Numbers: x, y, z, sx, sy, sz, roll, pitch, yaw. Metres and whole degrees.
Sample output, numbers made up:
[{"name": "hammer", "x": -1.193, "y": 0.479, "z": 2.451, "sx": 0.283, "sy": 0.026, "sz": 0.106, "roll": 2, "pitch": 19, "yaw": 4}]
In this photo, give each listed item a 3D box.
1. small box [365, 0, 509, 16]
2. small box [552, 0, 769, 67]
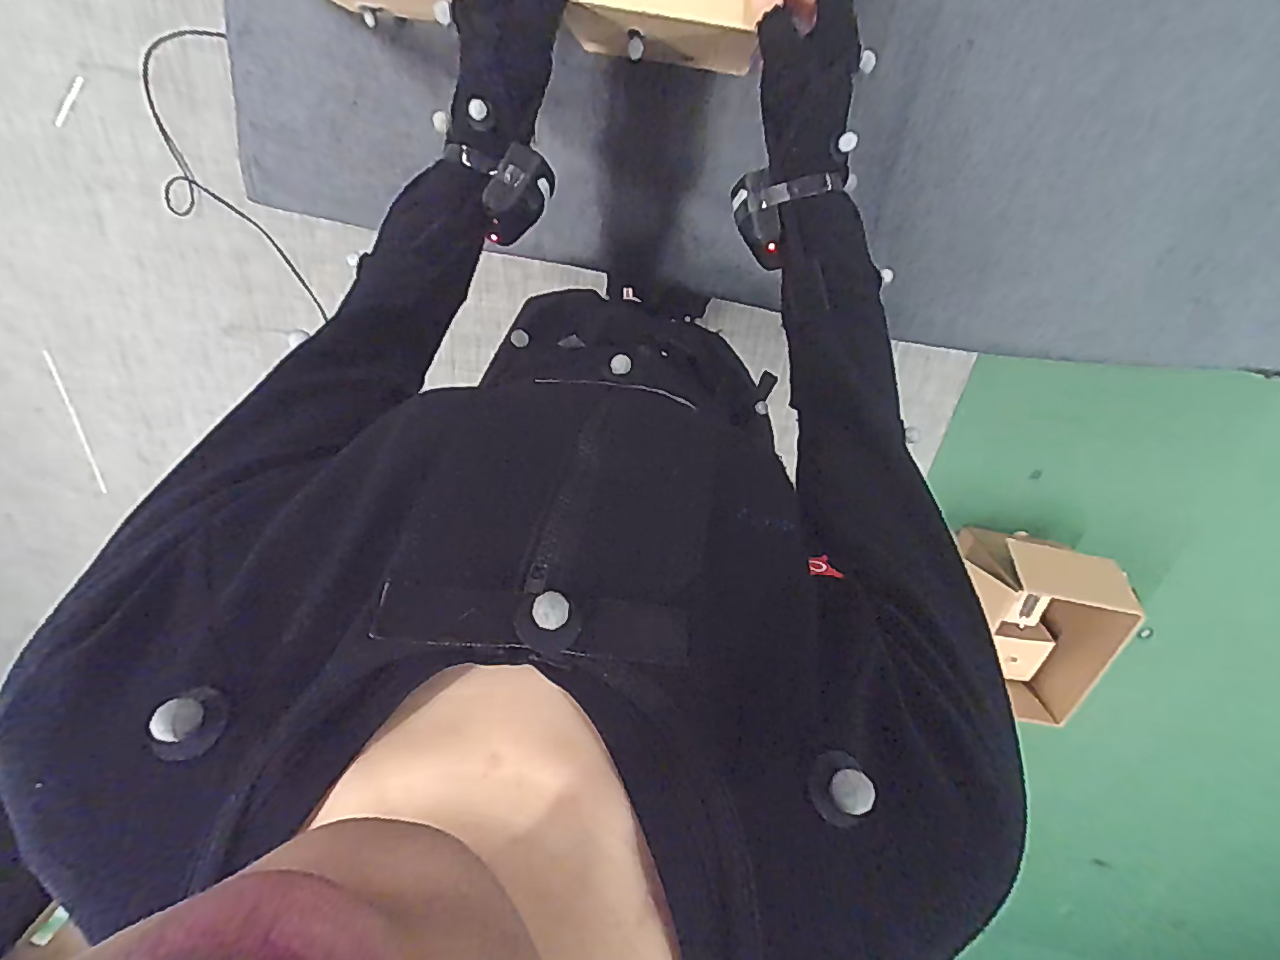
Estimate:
[{"name": "small box", "x": -0.202, "y": -0.492, "z": 0.415, "sx": 0.168, "sy": 0.176, "sz": 0.179, "roll": 6, "pitch": 117, "yaw": 1}, {"name": "small box", "x": 0.031, "y": -0.450, "z": 0.420, "sx": 0.168, "sy": 0.176, "sz": 0.179, "roll": 9, "pitch": 117, "yaw": 1}]
